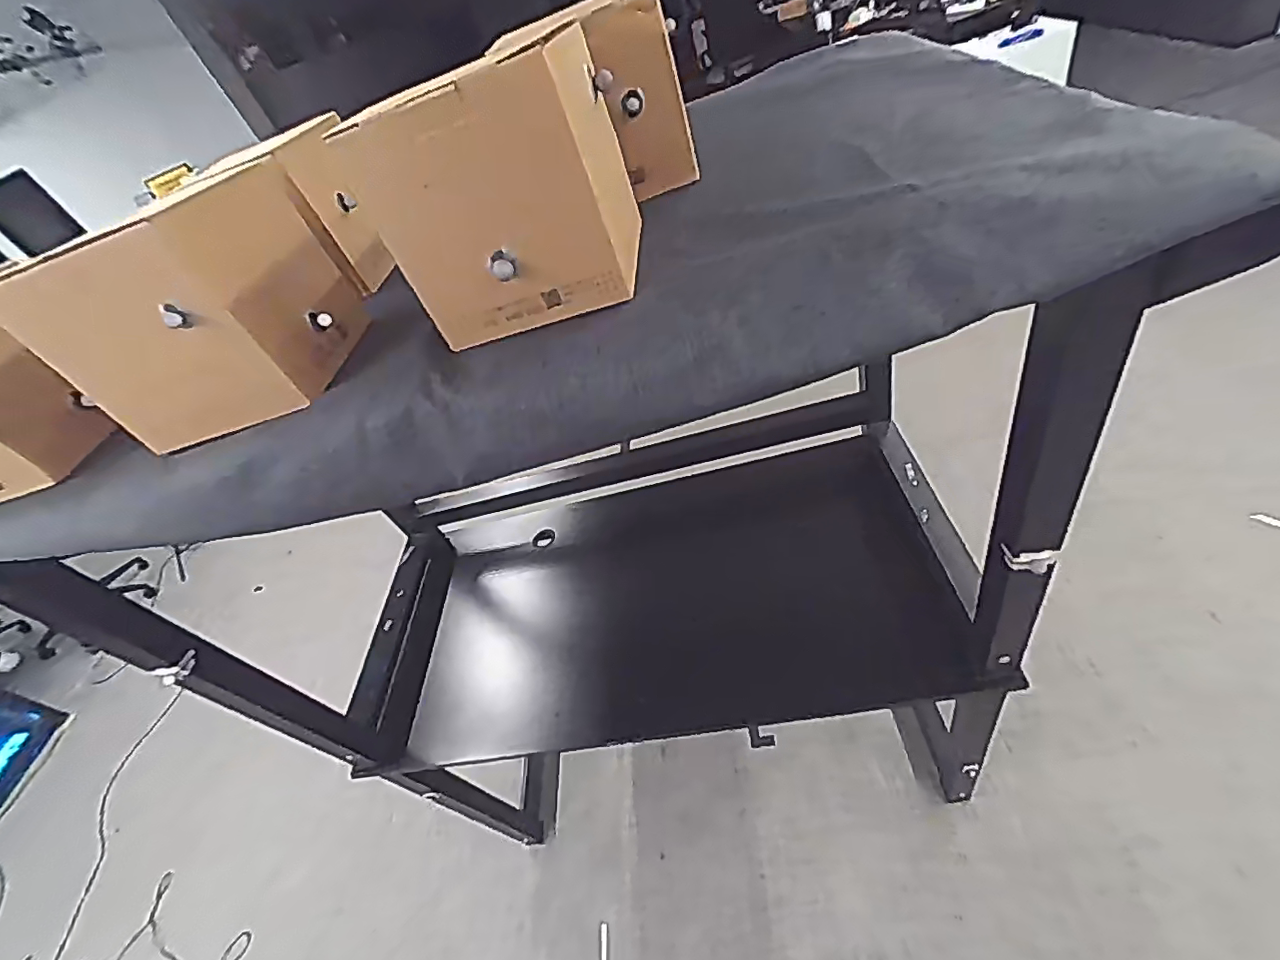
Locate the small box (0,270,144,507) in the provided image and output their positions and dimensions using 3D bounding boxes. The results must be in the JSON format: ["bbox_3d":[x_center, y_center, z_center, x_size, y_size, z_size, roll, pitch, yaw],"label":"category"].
[{"bbox_3d":[-0.687,-0.084,0.563,0.168,0.176,0.179,-15,43,10],"label":"small box"}]

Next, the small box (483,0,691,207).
[{"bbox_3d":[-0.048,-0.405,0.591,0.168,0.176,0.179,-14,44,10],"label":"small box"}]

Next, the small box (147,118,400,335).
[{"bbox_3d":[-0.428,-0.311,0.676,0.179,0.176,0.168,-13,44,13],"label":"small box"}]

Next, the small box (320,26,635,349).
[{"bbox_3d":[-0.108,-0.237,0.450,0.168,0.176,0.179,-12,43,15],"label":"small box"}]
